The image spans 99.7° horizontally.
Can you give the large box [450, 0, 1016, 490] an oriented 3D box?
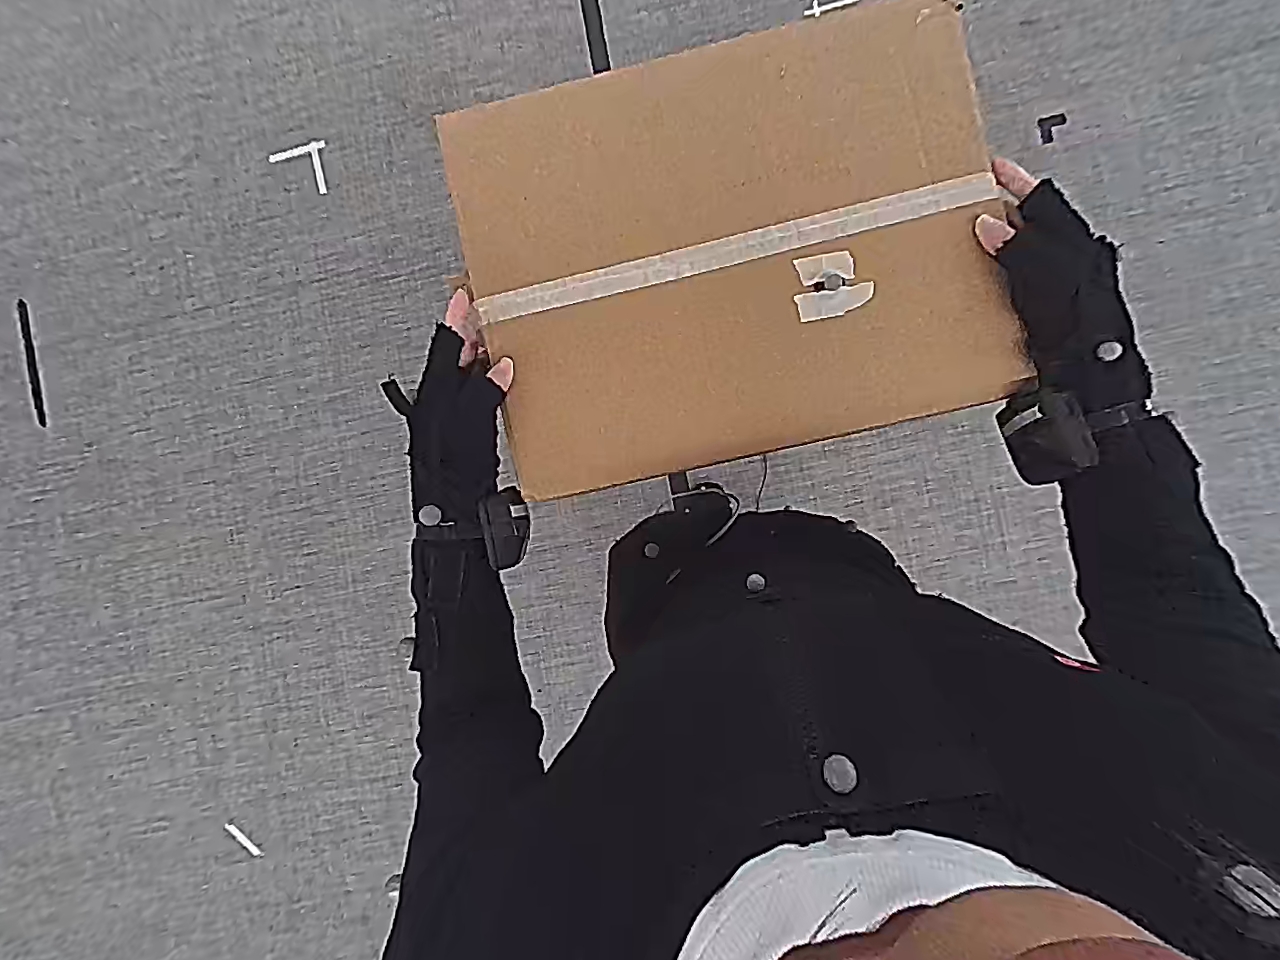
[{"bbox_3d":[0.075,-0.188,0.579,0.408,0.320,0.320,-13,92,2],"label":"large box"}]
